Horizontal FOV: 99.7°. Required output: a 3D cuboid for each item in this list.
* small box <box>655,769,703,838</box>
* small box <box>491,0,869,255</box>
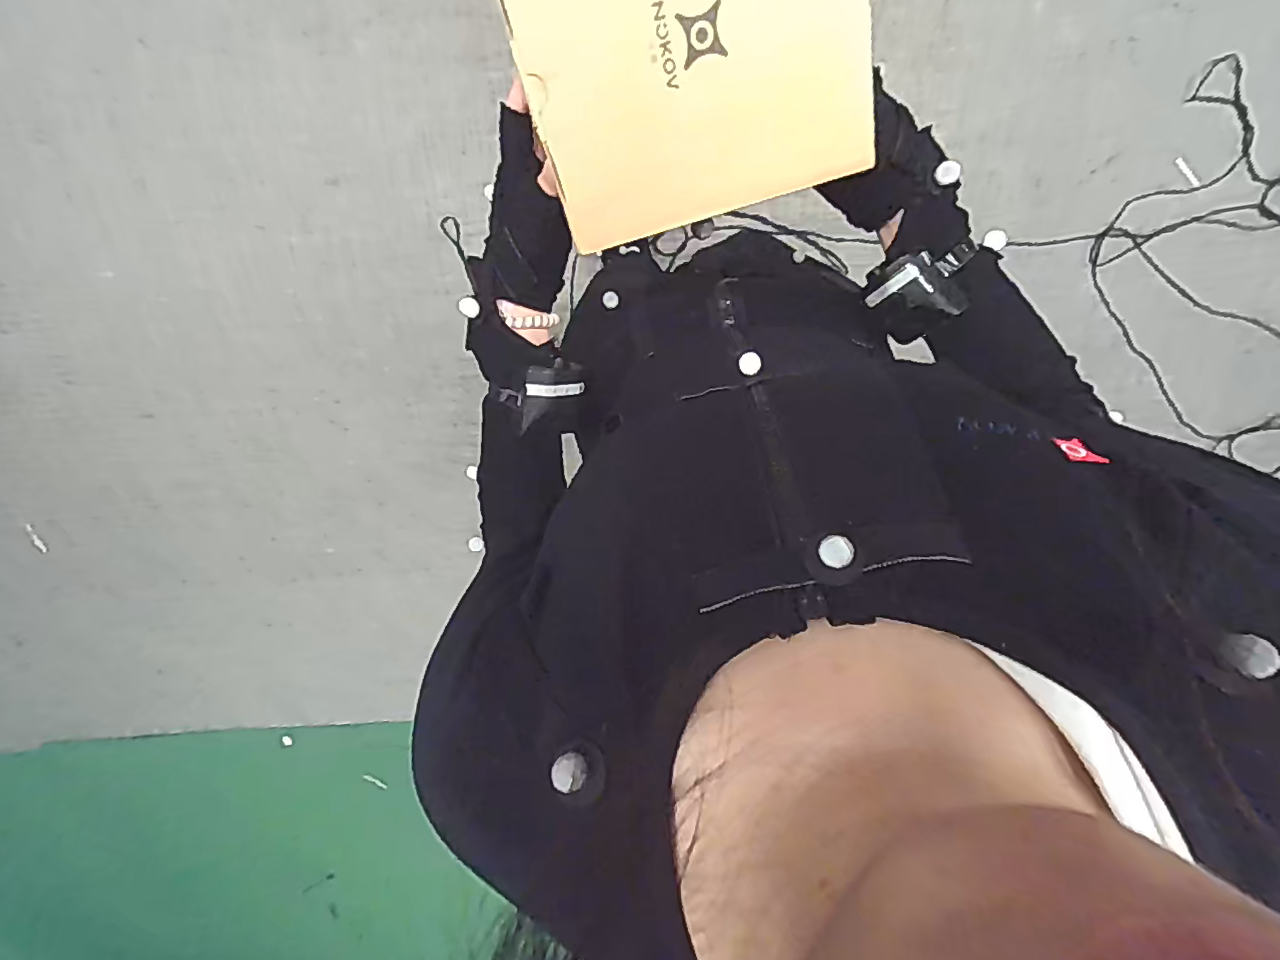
[{"bbox_3d":[0.151,1.284,2.152,0.179,0.176,0.168,-7,117,0],"label":"small box"},{"bbox_3d":[0.019,-0.261,0.330,0.179,0.176,0.168,-14,123,7],"label":"small box"}]
